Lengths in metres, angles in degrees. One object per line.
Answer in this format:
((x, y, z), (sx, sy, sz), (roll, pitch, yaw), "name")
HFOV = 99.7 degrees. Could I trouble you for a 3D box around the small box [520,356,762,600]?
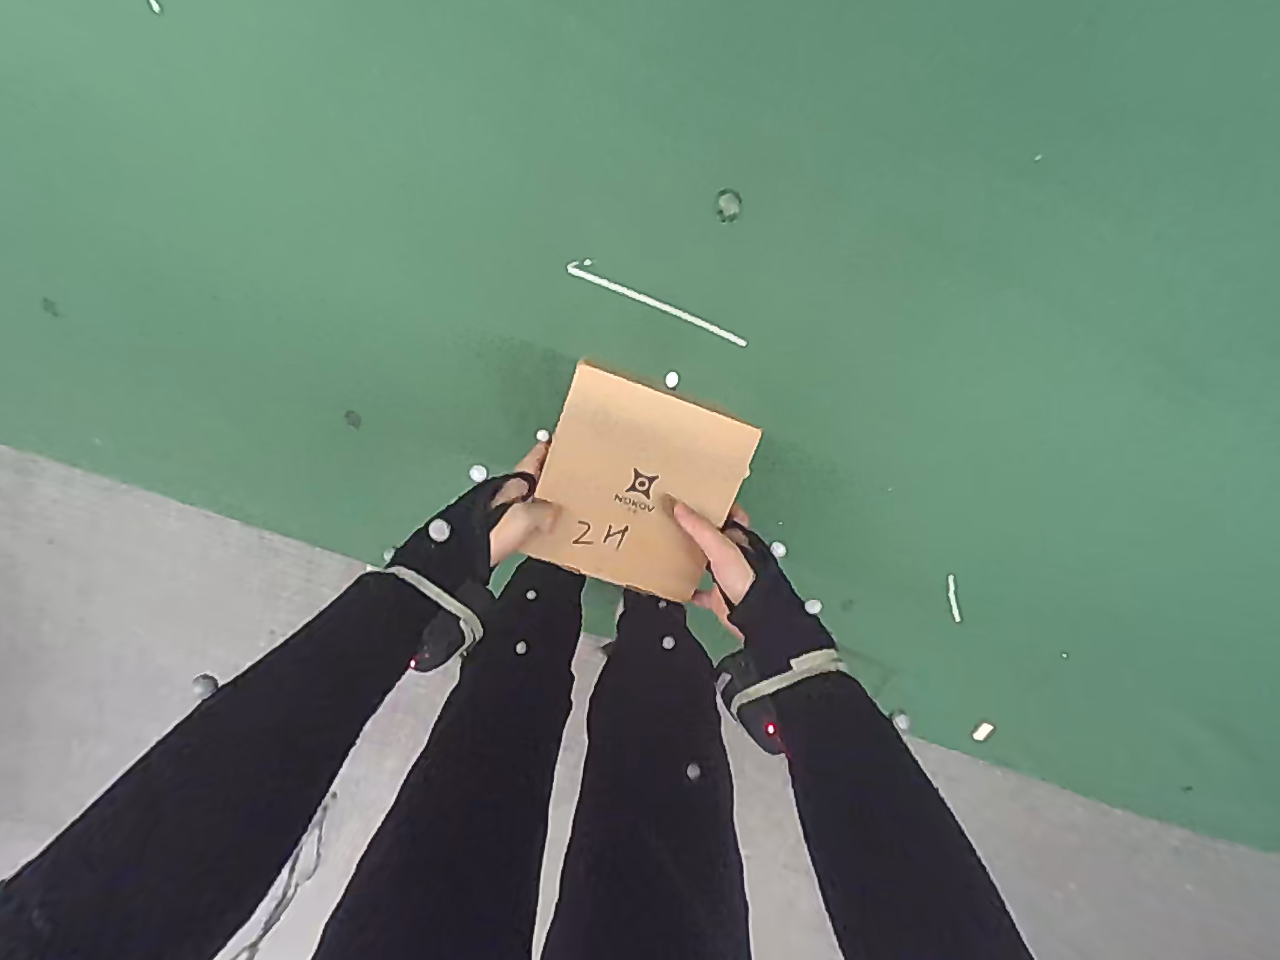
((-0.007, -0.015, 0.543), (0.168, 0.176, 0.179), (20, 103, -9), "small box")
